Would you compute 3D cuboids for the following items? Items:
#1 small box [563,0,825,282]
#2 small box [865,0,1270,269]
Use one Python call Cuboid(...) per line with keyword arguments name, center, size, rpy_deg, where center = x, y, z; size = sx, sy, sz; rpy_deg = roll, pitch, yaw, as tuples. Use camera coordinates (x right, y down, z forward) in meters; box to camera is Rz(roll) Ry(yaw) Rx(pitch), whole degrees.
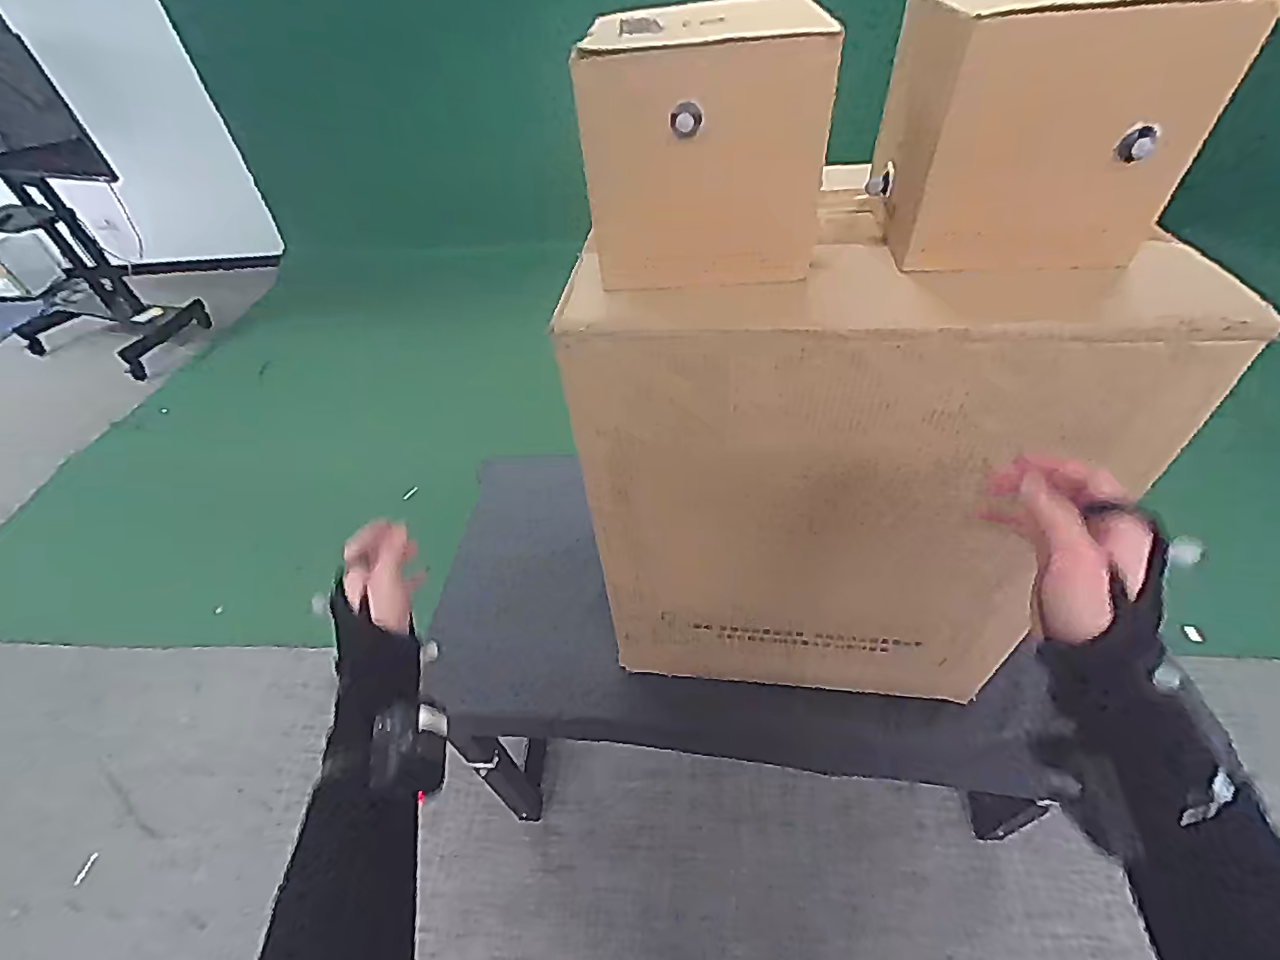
Cuboid(name="small box", center=(0.051, -0.285, 0.463), size=(0.179, 0.176, 0.168), rpy_deg=(2, 50, 9))
Cuboid(name="small box", center=(0.303, -0.286, 0.440), size=(0.179, 0.176, 0.168), rpy_deg=(3, 48, 8))
